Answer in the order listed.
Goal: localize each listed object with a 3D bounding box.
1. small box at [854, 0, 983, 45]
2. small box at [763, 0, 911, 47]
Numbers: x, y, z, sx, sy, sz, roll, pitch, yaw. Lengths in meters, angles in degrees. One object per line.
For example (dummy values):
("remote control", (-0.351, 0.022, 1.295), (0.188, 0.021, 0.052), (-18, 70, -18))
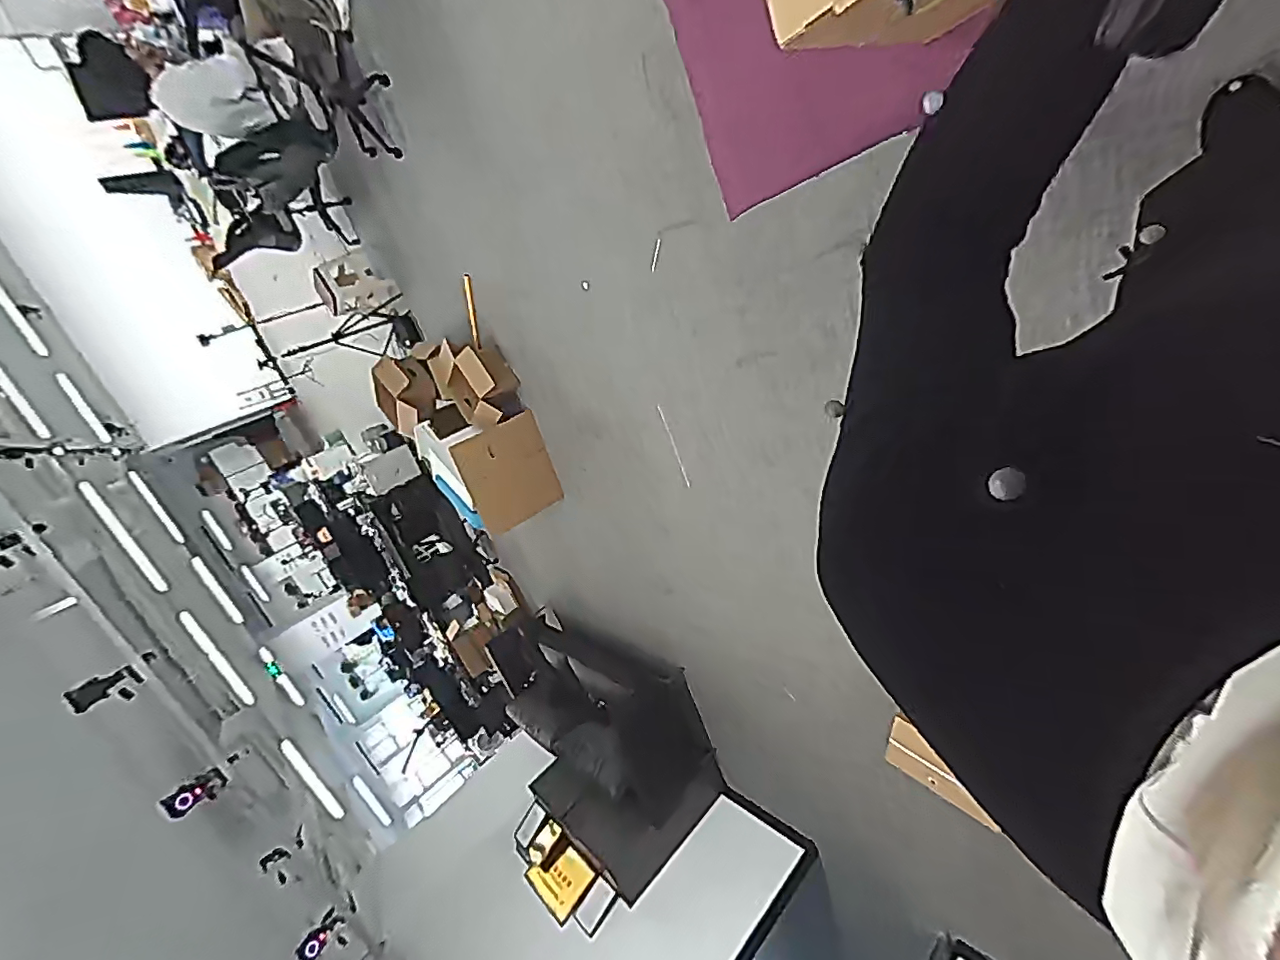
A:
("small box", (0.327, -0.606, 0.571), (0.168, 0.176, 0.179), (3, 119, 51))
("small box", (0.210, -0.533, 0.482), (0.168, 0.176, 0.179), (2, 119, 51))
